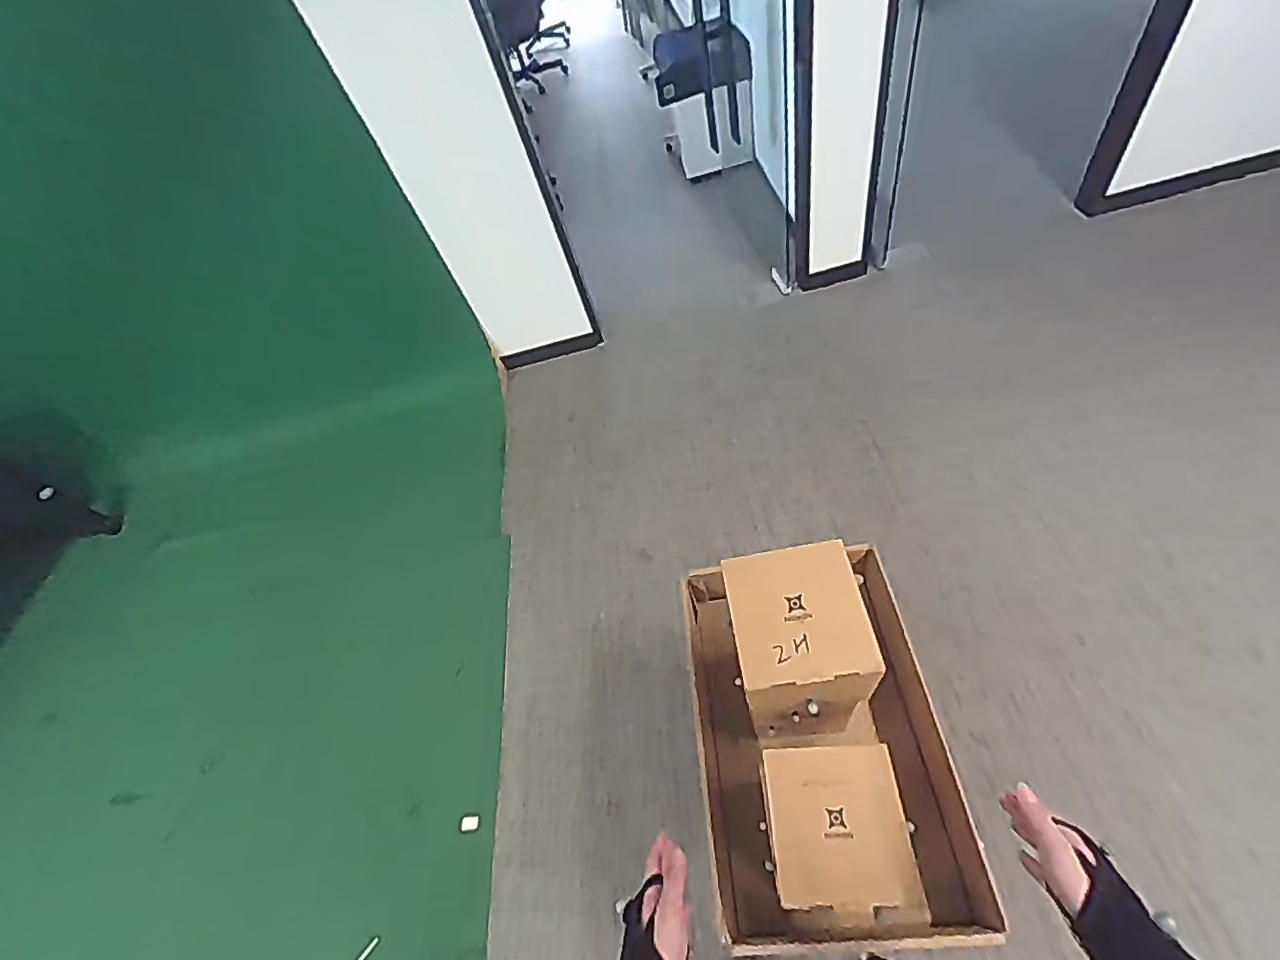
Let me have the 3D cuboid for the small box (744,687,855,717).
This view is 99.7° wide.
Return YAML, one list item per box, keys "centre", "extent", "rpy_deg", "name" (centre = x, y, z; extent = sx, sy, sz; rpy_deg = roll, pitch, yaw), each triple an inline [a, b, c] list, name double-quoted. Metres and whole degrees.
- centre: [0.248, 0.279, 0.893]
  extent: [0.168, 0.176, 0.179]
  rpy_deg: [-9, 56, 8]
  name: "small box"

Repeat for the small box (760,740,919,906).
- centre: [0.262, 0.471, 0.745]
  extent: [0.168, 0.176, 0.179]
  rpy_deg: [-7, 53, 10]
  name: "small box"

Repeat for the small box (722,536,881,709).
- centre: [0.213, 0.202, 0.751]
  extent: [0.168, 0.176, 0.179]
  rpy_deg: [-11, 56, 8]
  name: "small box"
